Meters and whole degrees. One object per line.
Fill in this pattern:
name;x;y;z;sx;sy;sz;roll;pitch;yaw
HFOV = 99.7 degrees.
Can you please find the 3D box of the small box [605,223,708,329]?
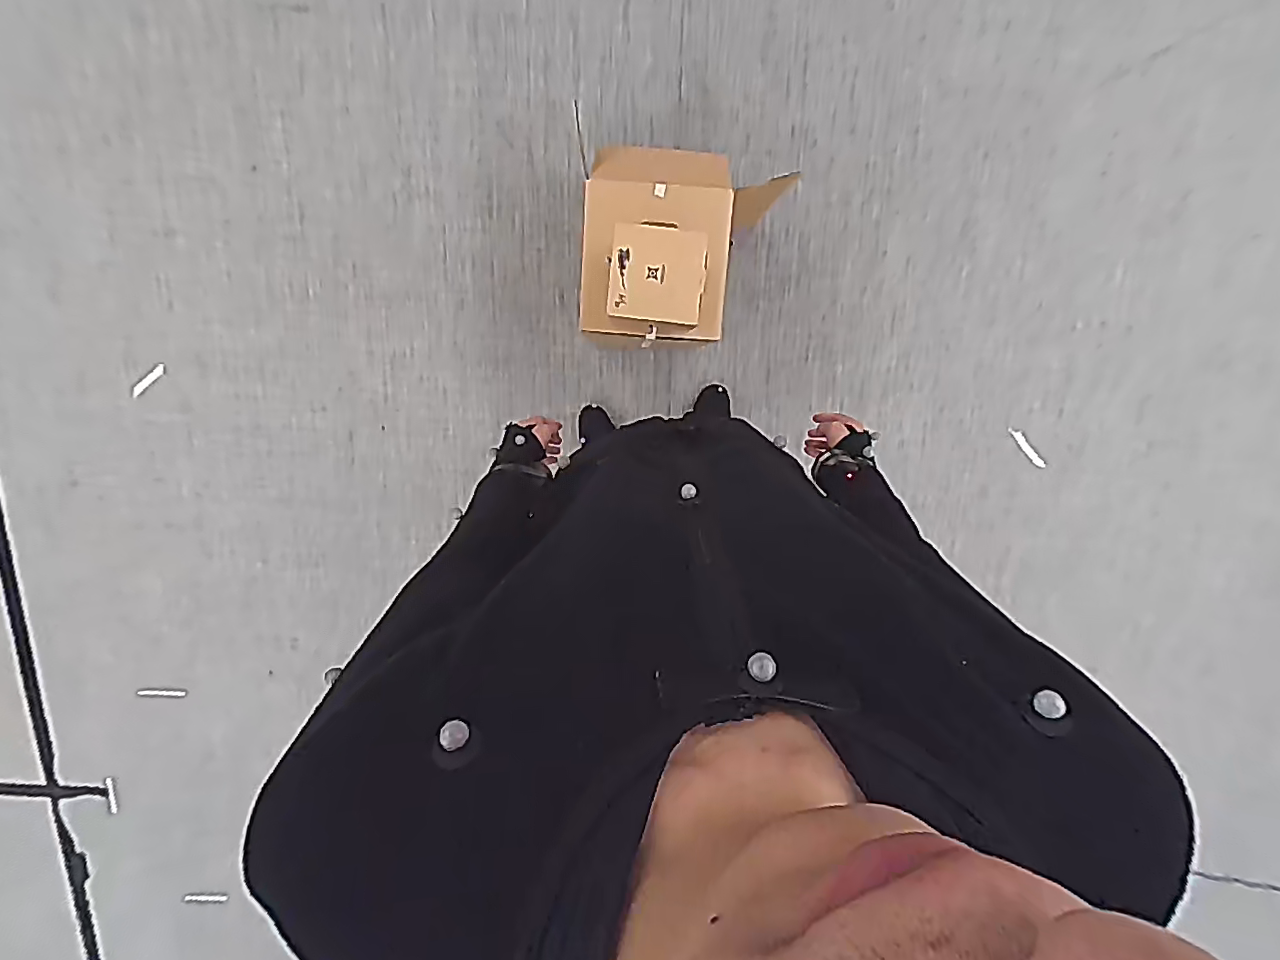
small box;0.028;-0.398;1.085;0.179;0.176;0.168;7;102;-2
